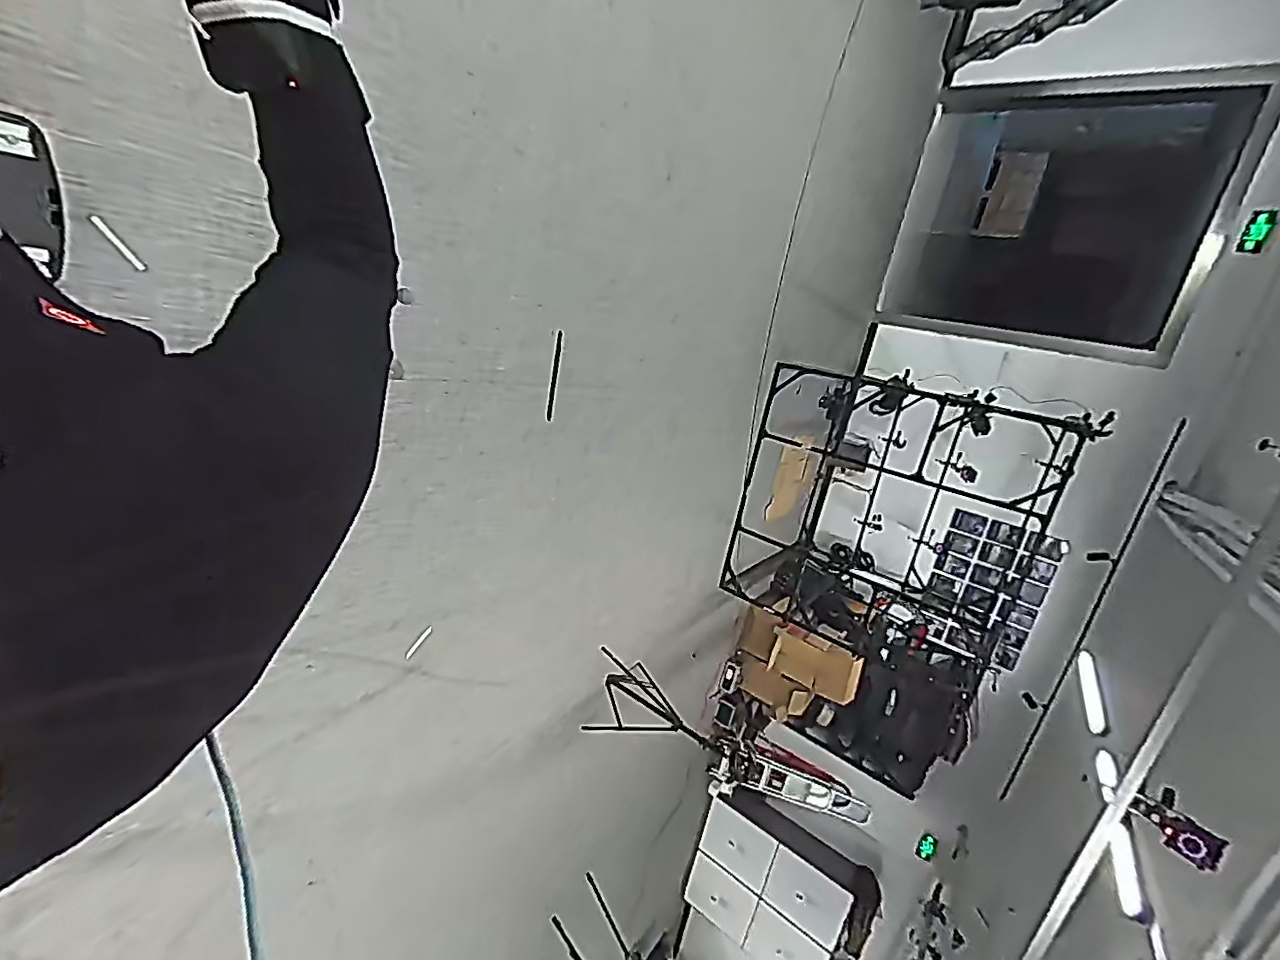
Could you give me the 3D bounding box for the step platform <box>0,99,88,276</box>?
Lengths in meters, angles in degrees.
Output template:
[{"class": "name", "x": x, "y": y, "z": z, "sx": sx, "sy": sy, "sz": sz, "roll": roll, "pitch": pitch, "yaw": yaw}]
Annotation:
[{"class": "step platform", "x": -1.283, "y": -0.491, "z": 0.779, "sx": 0.684, "sy": 0.204, "sz": 0.286, "roll": -15, "pitch": 121, "yaw": -54}]
